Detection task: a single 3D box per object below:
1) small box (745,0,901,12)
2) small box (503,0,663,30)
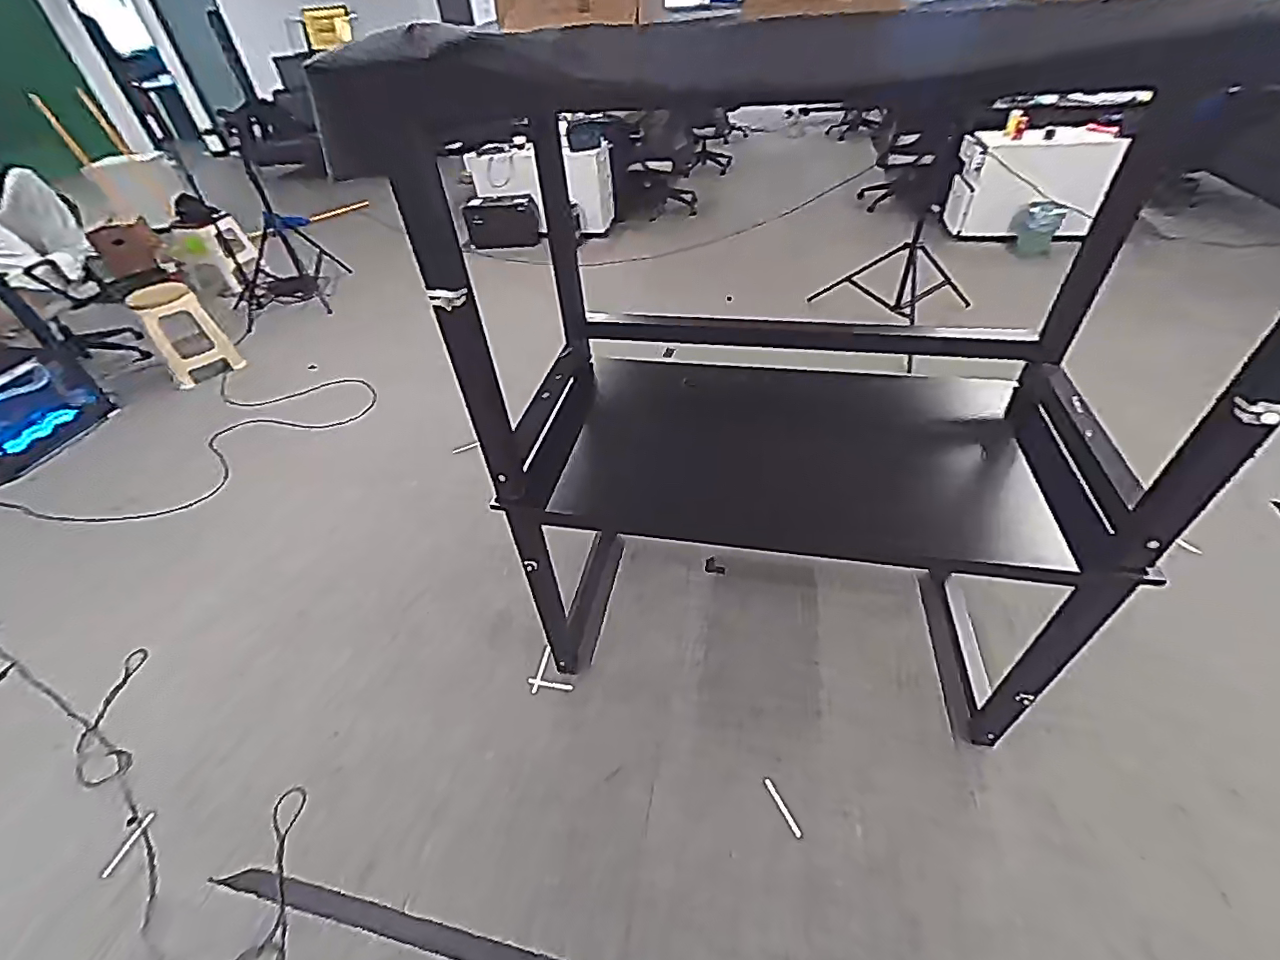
[{"bbox_3d":[0.201,-0.596,0.556,0.168,0.176,0.179,6,41,12],"label":"small box"},{"bbox_3d":[-0.066,-0.620,0.608,0.168,0.176,0.179,6,42,10],"label":"small box"}]
